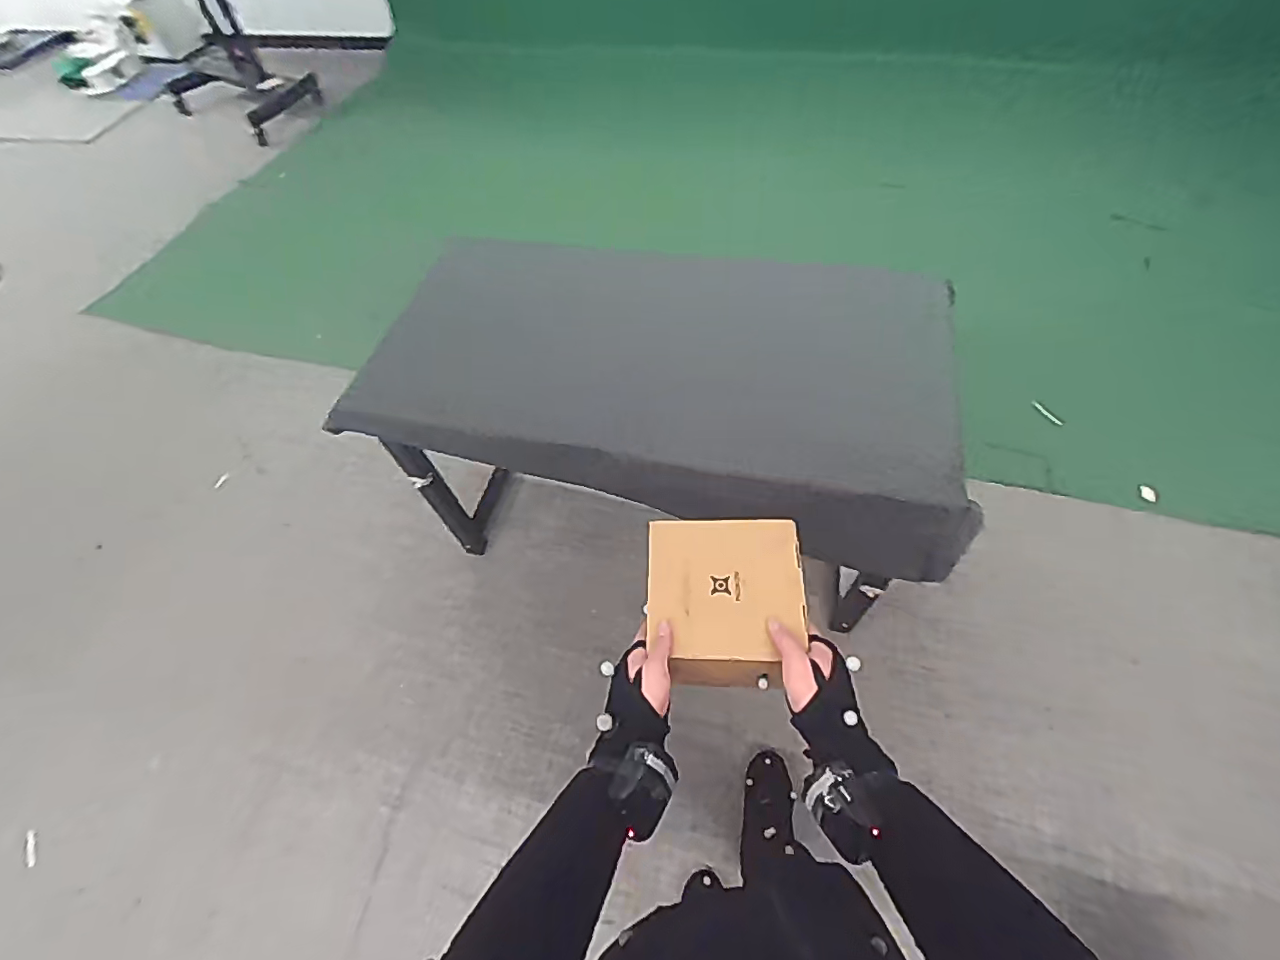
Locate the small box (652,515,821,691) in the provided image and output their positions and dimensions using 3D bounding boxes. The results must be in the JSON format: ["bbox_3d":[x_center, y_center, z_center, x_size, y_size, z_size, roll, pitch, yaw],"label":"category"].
[{"bbox_3d":[0.105,0.156,0.663,0.179,0.176,0.168,-2,57,4],"label":"small box"}]
